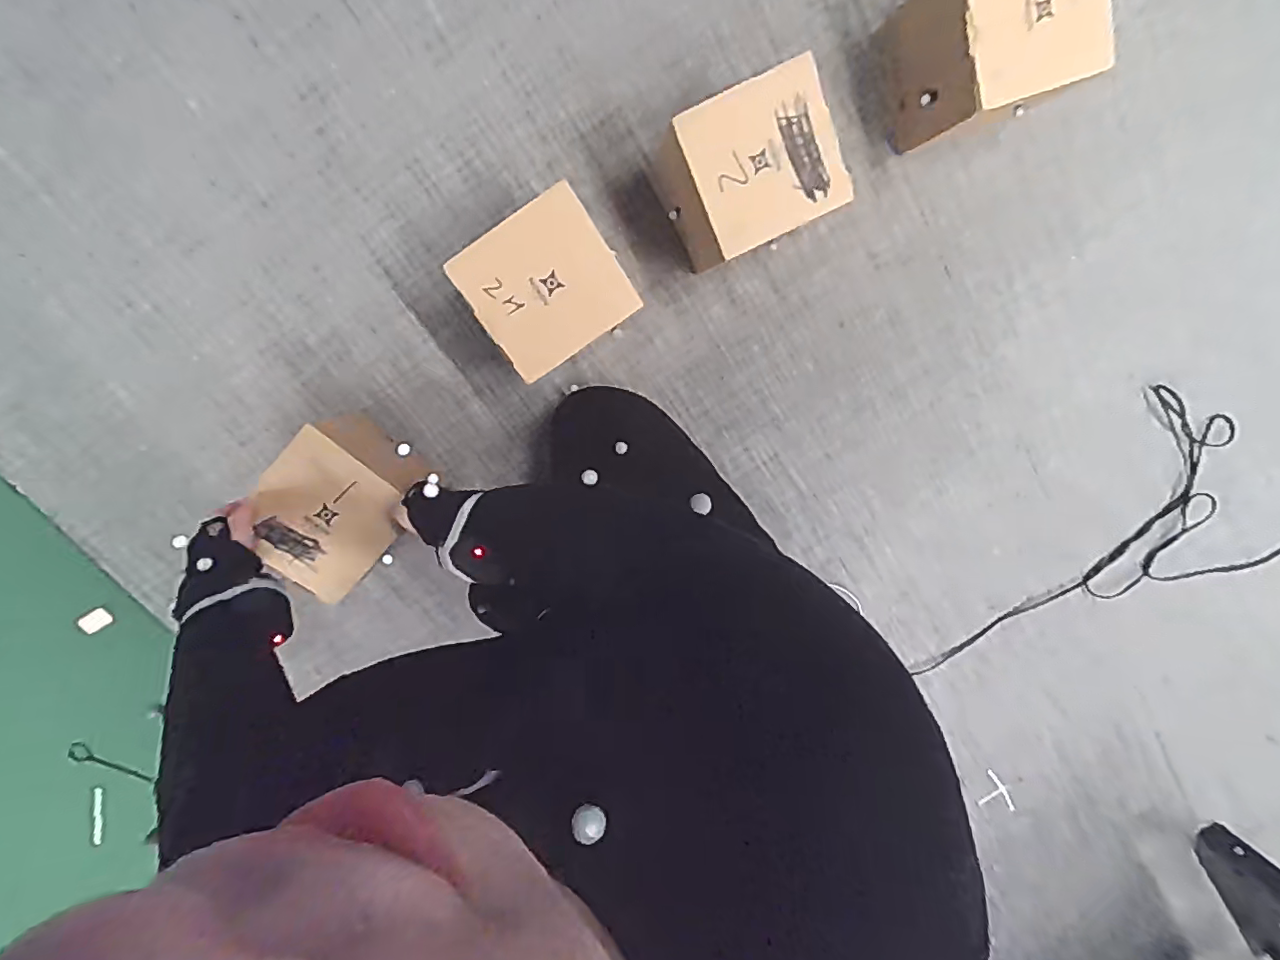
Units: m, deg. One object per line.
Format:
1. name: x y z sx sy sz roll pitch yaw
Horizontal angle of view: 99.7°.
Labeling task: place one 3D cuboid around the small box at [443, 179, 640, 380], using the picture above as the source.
1. small box: -0.122 -0.252 0.709 0.179 0.176 0.168 -33 106 3

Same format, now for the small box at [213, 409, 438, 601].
1. small box: -0.403 0.023 0.733 0.168 0.176 0.179 43 93 -14

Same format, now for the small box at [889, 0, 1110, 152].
1. small box: 0.443 -0.552 0.693 0.179 0.176 0.168 -18 107 -2
